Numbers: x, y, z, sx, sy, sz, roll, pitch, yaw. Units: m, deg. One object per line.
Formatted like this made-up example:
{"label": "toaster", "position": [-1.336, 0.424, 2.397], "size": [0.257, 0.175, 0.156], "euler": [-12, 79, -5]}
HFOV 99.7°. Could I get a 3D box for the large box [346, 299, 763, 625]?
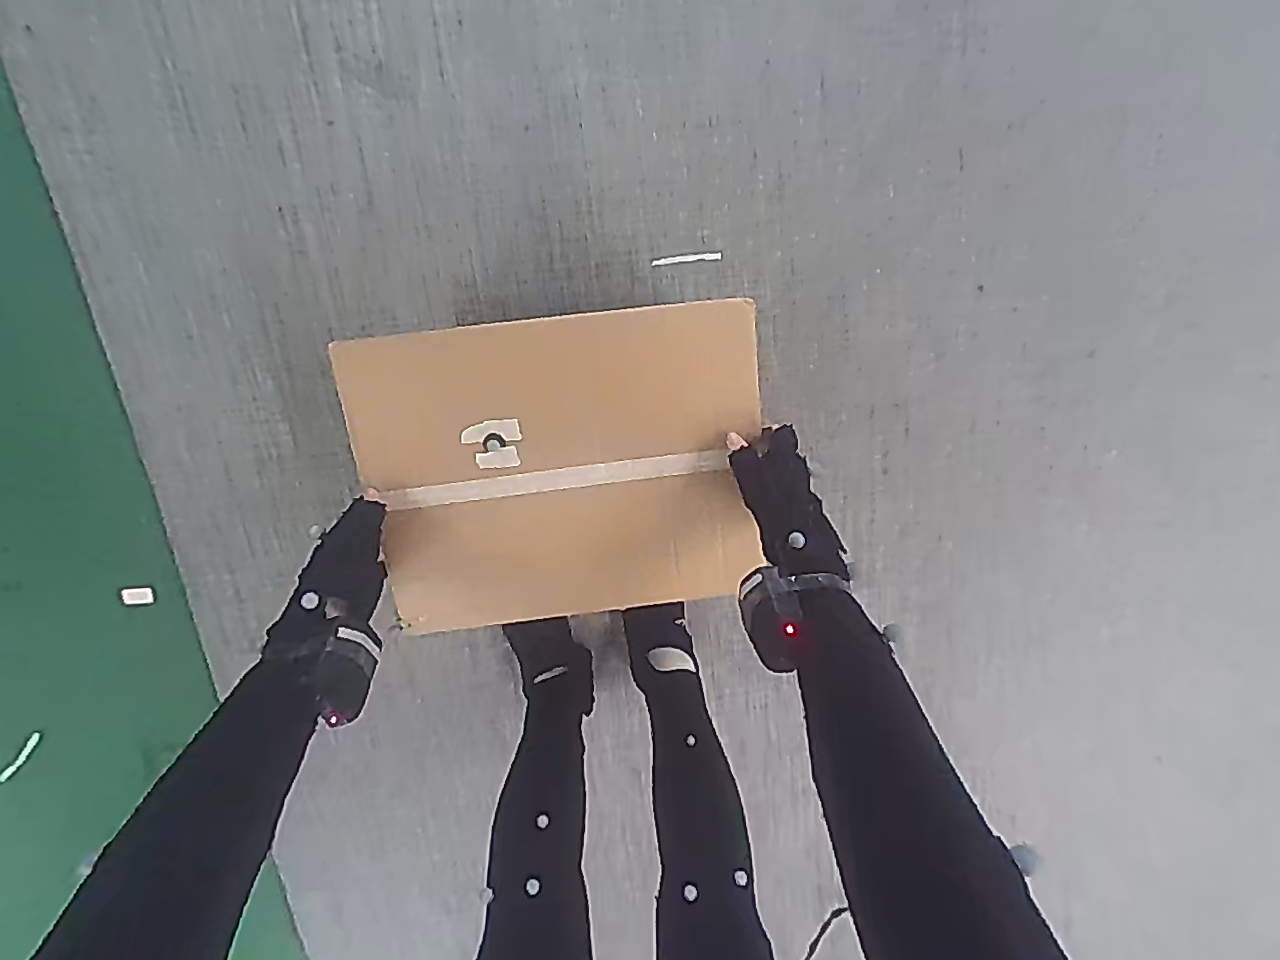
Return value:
{"label": "large box", "position": [-0.080, -0.049, 0.709], "size": [0.408, 0.320, 0.320], "euler": [-6, 105, -2]}
